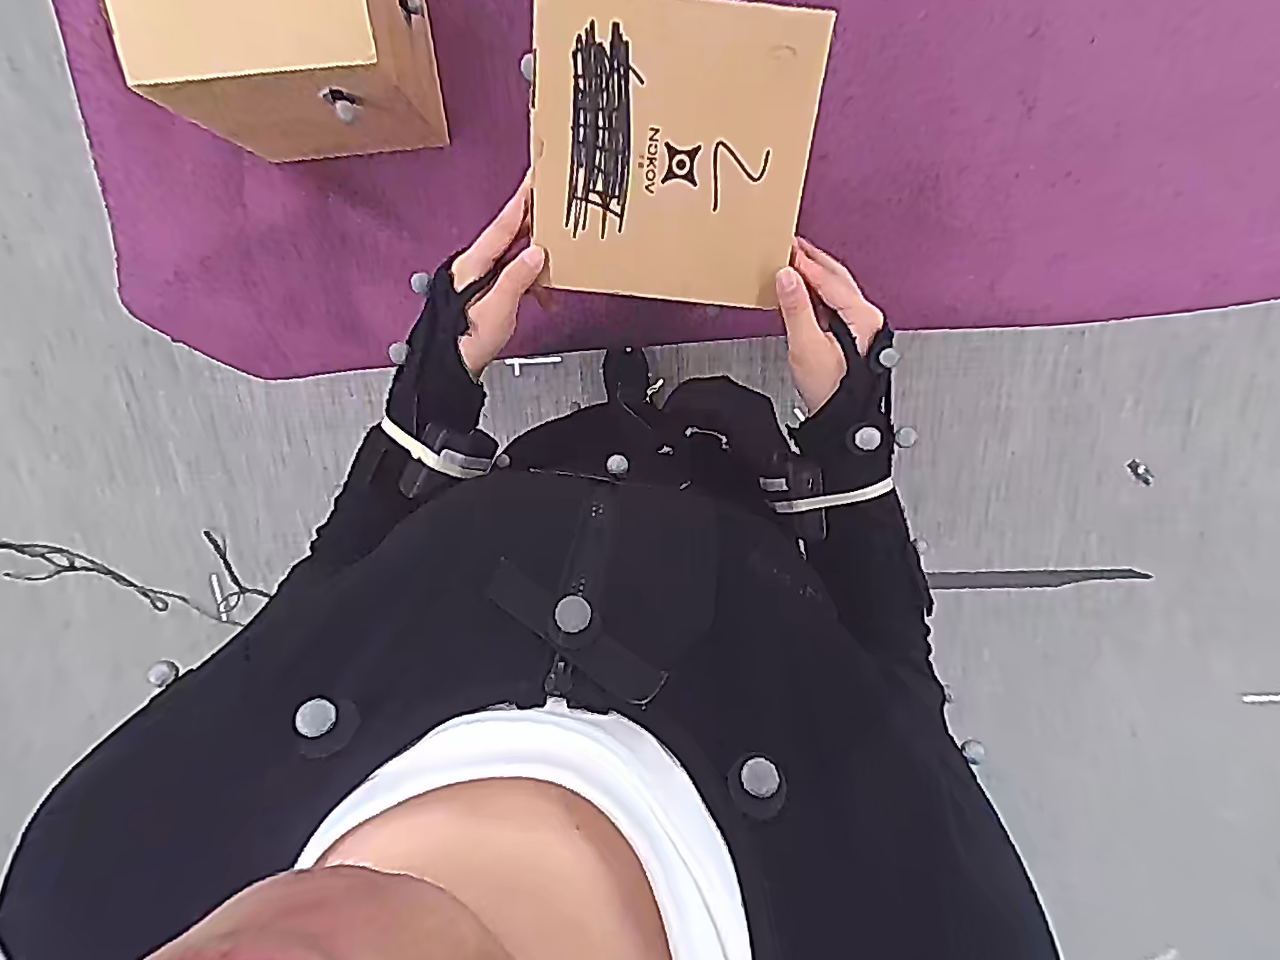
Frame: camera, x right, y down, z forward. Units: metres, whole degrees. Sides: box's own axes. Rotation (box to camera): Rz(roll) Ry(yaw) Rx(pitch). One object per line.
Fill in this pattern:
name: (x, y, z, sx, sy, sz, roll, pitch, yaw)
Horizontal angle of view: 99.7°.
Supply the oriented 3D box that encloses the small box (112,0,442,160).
small box: (-0.273, -0.377, 0.433, 0.179, 0.176, 0.168, -6, 104, -1)
